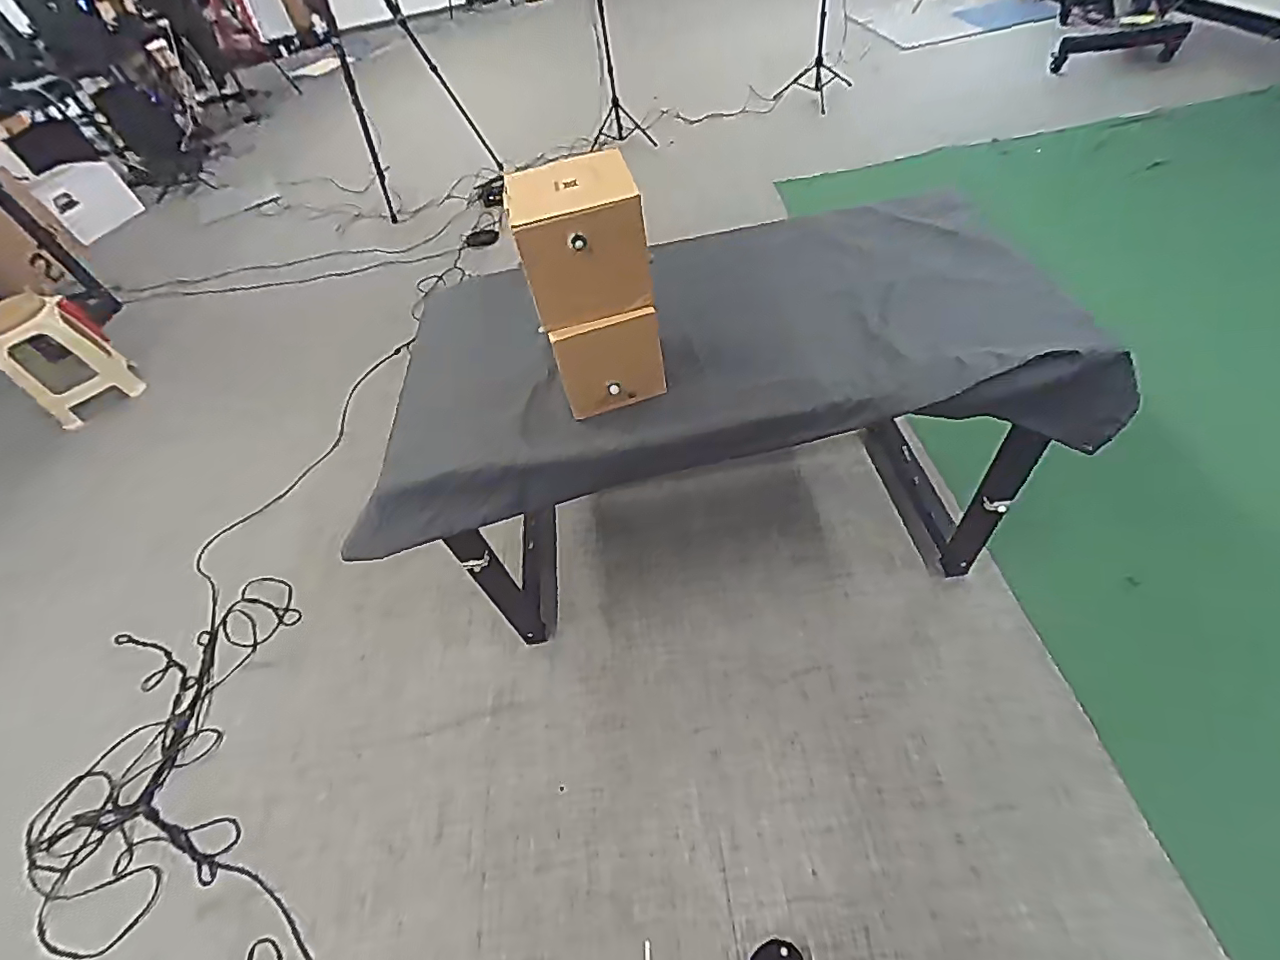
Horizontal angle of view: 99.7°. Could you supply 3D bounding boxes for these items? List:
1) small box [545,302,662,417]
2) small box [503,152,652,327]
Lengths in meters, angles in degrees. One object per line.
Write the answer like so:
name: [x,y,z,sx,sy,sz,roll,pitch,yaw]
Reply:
small box: [-0.069,-0.238,0.919,0.168,0.176,0.179,-18,51,-4]
small box: [-0.089,-0.351,0.803,0.179,0.176,0.168,-14,52,-2]
